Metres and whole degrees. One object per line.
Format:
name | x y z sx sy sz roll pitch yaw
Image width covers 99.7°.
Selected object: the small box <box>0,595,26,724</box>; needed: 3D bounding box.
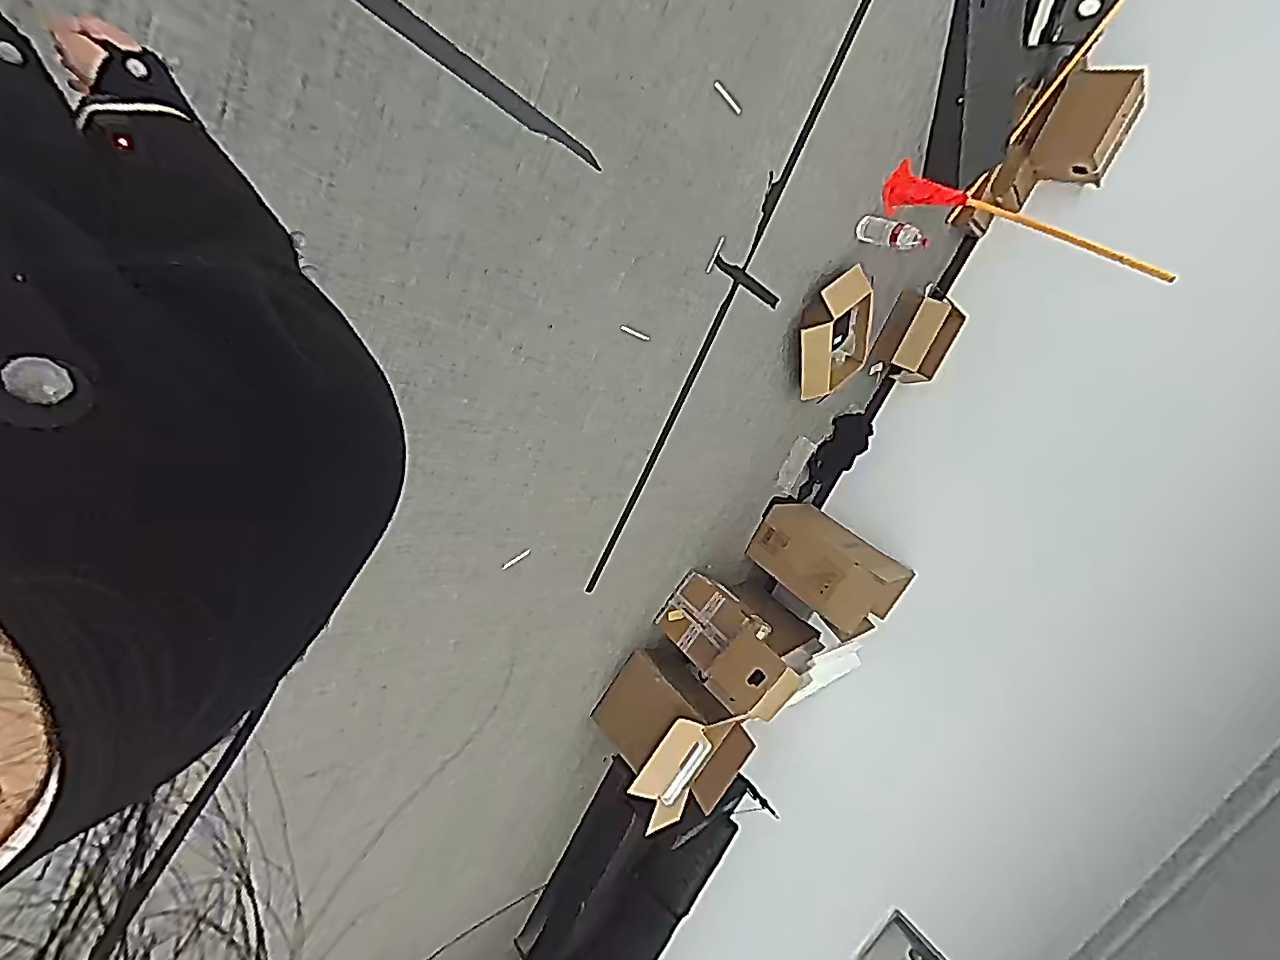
small box | -1.250 0.338 0.986 0.168 0.176 0.179 0 119 -47
